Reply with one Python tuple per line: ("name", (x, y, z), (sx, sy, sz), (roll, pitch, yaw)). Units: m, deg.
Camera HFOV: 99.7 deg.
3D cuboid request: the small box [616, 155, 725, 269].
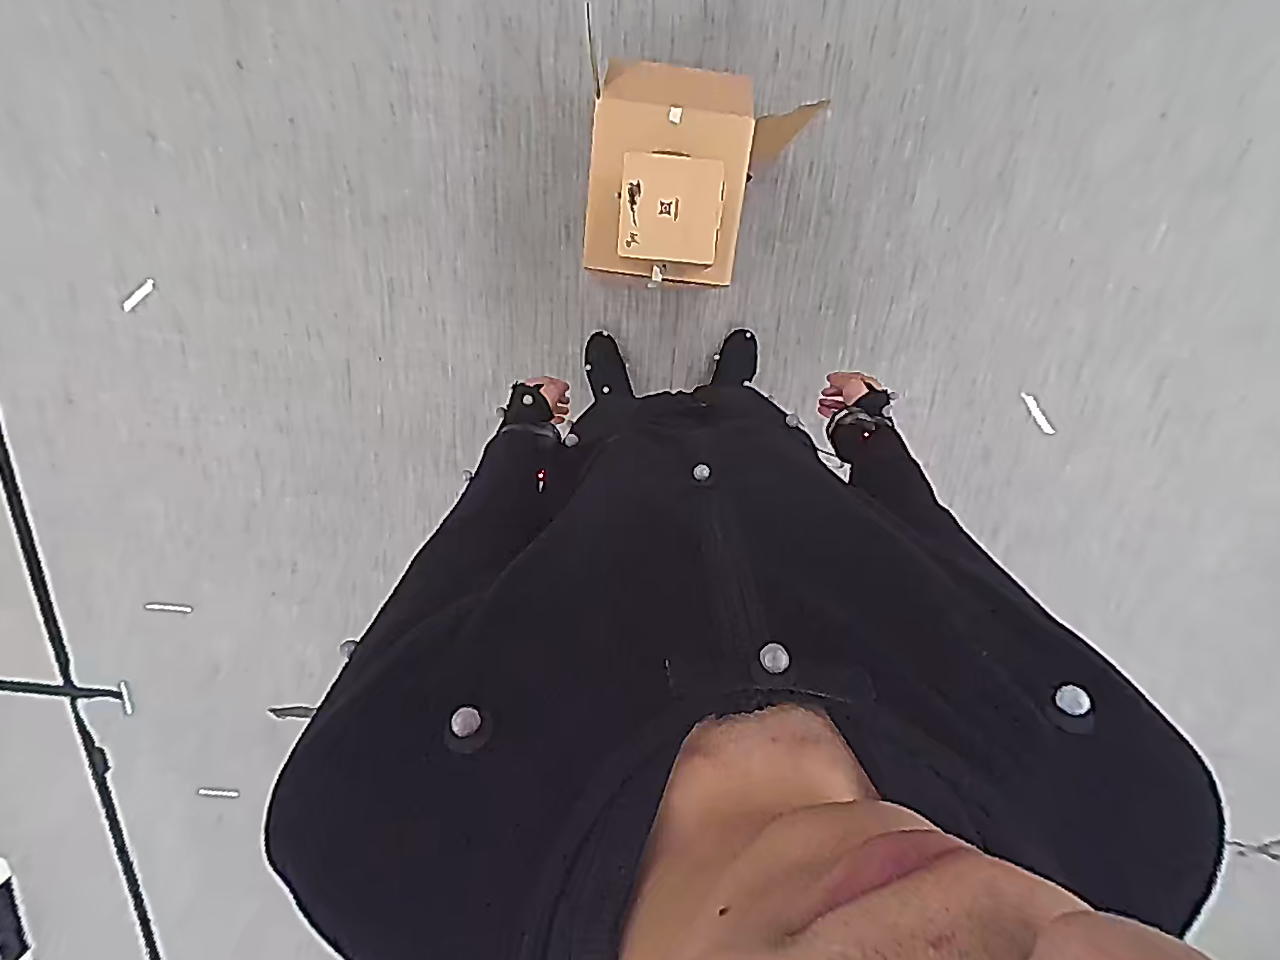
("small box", (0.051, -0.494, 1.019), (0.179, 0.176, 0.168), (5, 109, -1))
